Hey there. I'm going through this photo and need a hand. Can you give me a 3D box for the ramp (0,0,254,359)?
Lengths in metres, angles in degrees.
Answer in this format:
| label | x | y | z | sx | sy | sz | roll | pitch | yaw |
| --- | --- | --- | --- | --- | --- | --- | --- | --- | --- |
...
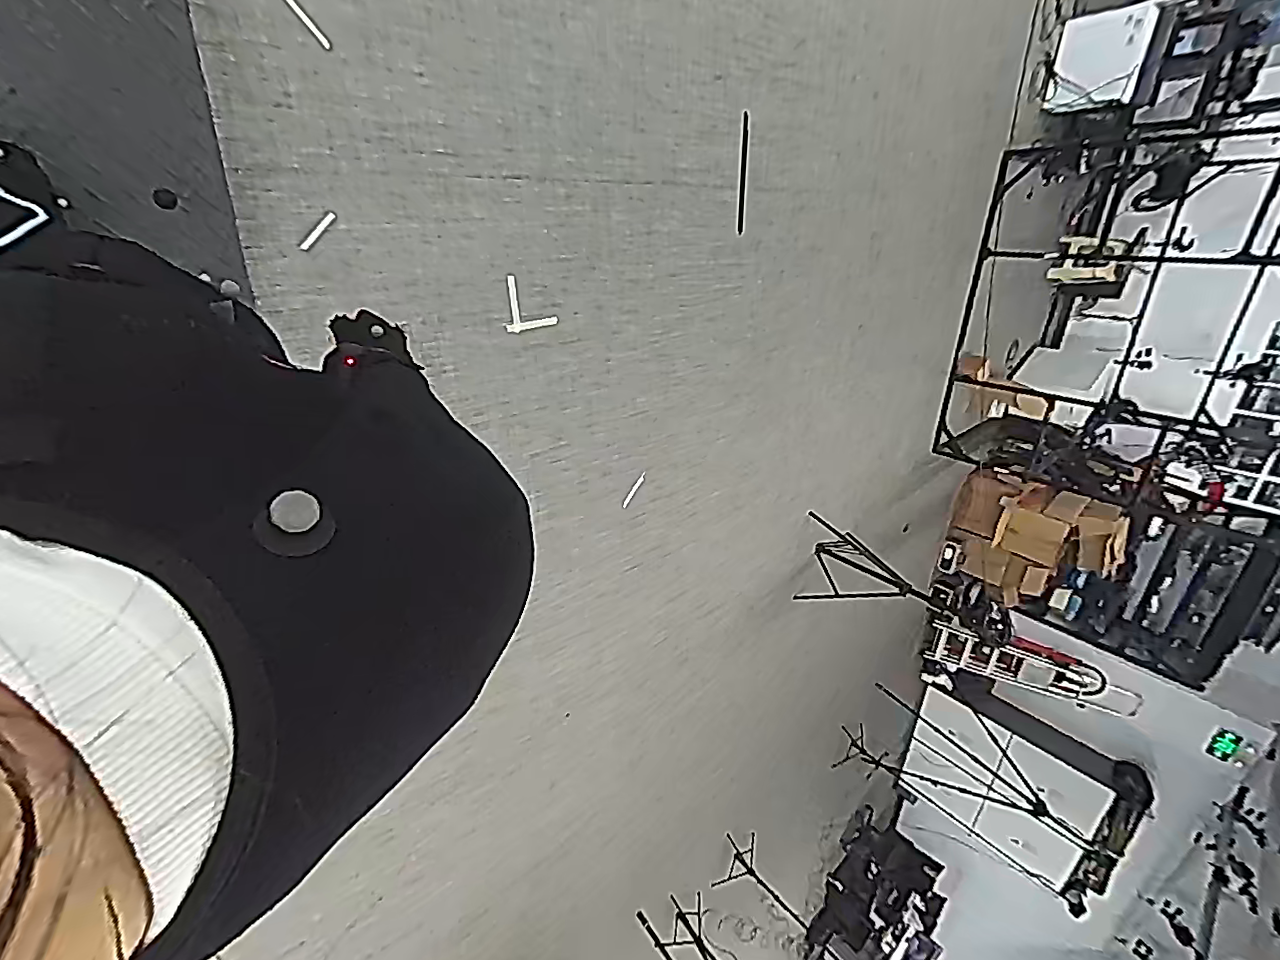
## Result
| label | x | y | z | sx | sy | sz | roll | pitch | yaw |
| --- | --- | --- | --- | --- | --- | --- | --- | --- | --- |
| ramp | -0.964 | -0.671 | 0.798 | 0.509 | 0.206 | 0.991 | -20 | 123 | -37 |
